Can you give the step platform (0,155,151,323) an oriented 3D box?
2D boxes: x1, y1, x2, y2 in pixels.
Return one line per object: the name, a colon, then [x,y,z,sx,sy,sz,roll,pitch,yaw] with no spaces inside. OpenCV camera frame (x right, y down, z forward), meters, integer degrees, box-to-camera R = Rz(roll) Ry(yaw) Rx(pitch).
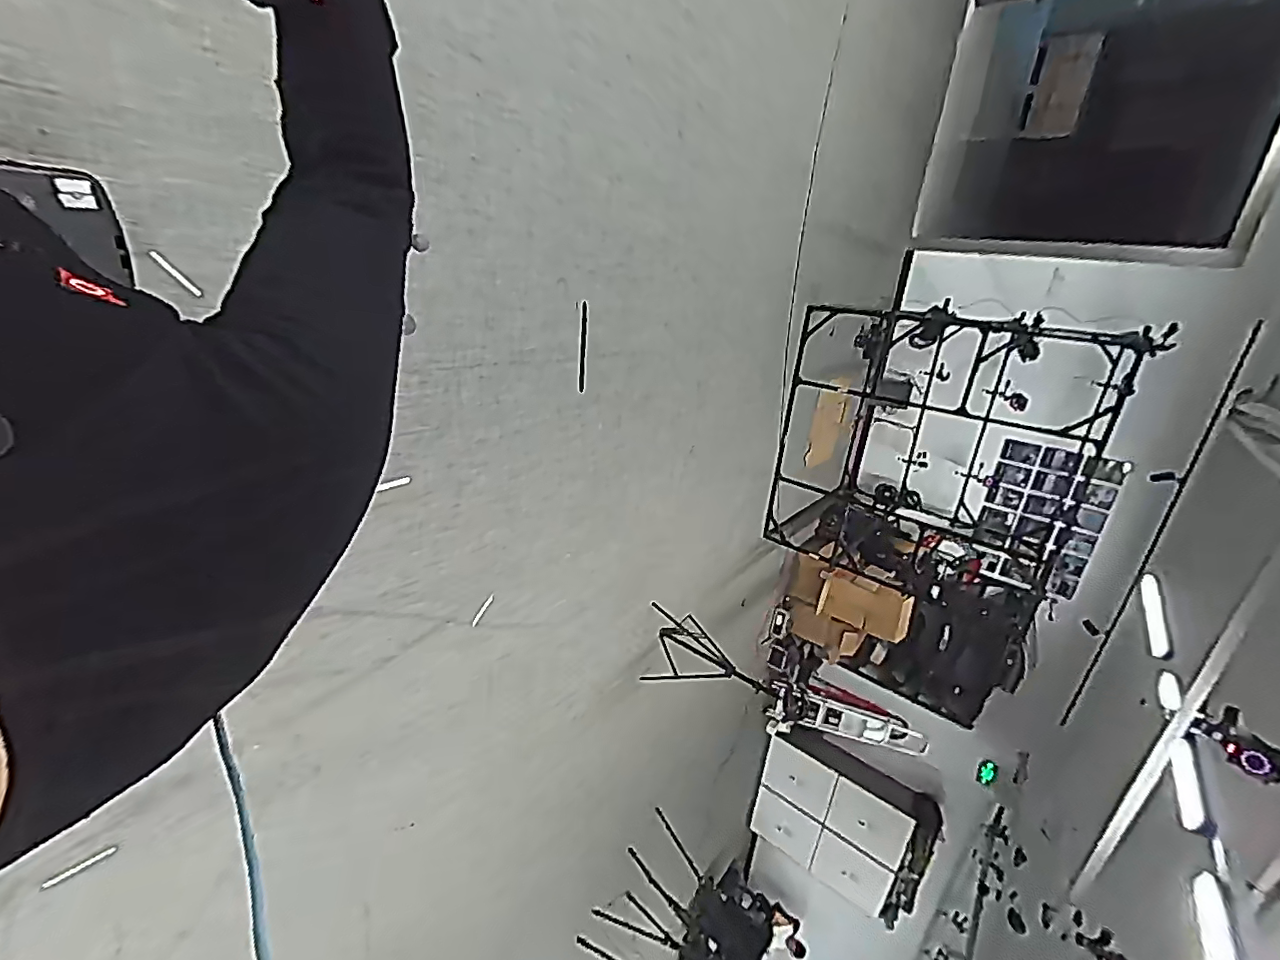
step platform: [-1.274,-0.409,0.895,0.684,0.204,0.286,-24,125,-48]
